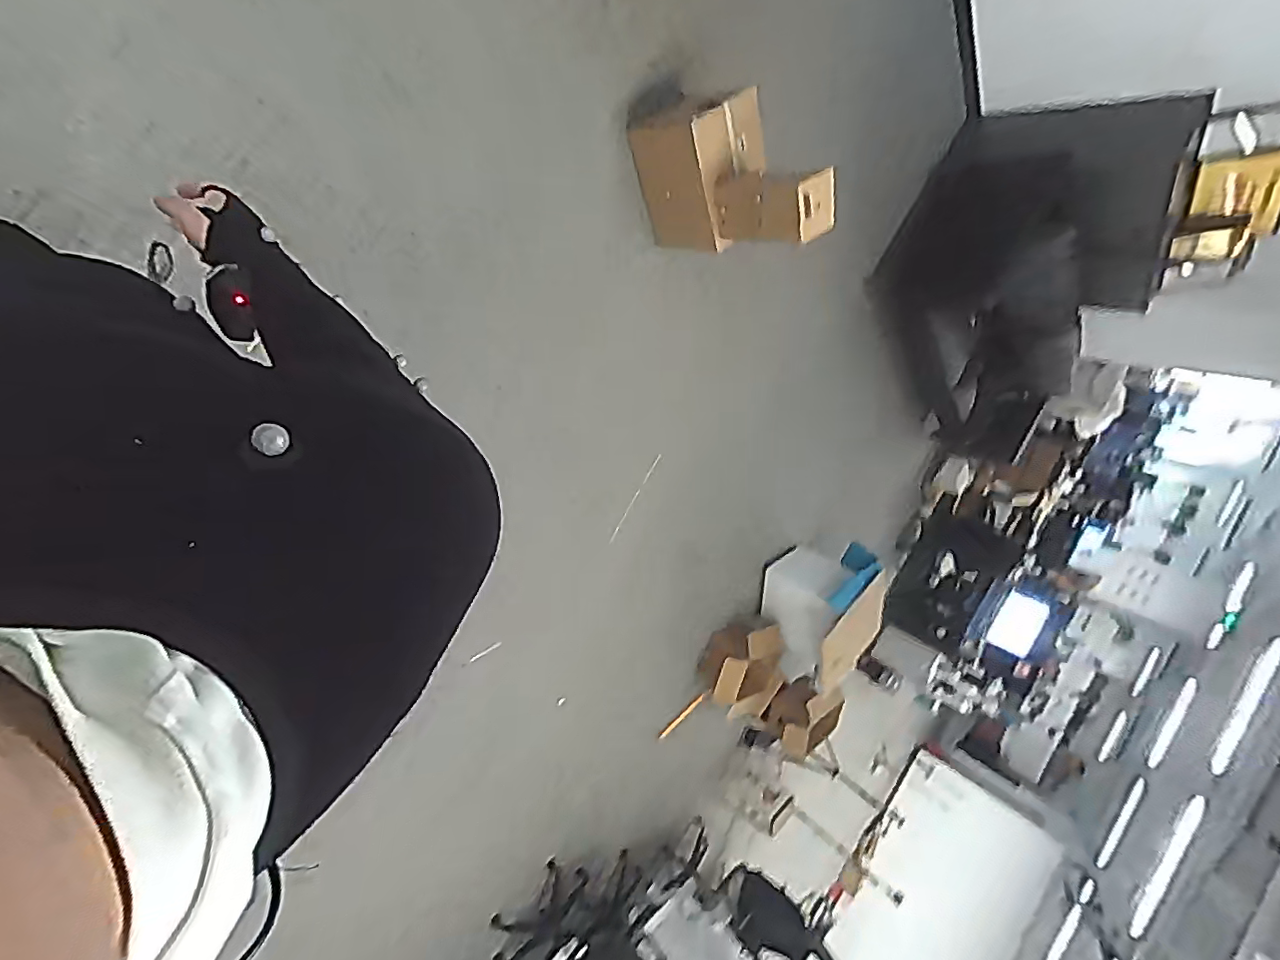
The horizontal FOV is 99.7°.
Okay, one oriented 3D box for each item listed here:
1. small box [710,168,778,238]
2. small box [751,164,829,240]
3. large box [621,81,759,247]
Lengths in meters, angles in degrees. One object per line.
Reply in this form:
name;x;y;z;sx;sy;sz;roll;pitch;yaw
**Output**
small box;0.353;-0.911;1.771;0.179;0.176;0.168;-37;132;-24
small box;0.455;-0.852;1.657;0.179;0.176;0.168;-38;133;-25
large box;0.192;-1.084;1.887;0.320;0.320;0.408;-44;135;-21
